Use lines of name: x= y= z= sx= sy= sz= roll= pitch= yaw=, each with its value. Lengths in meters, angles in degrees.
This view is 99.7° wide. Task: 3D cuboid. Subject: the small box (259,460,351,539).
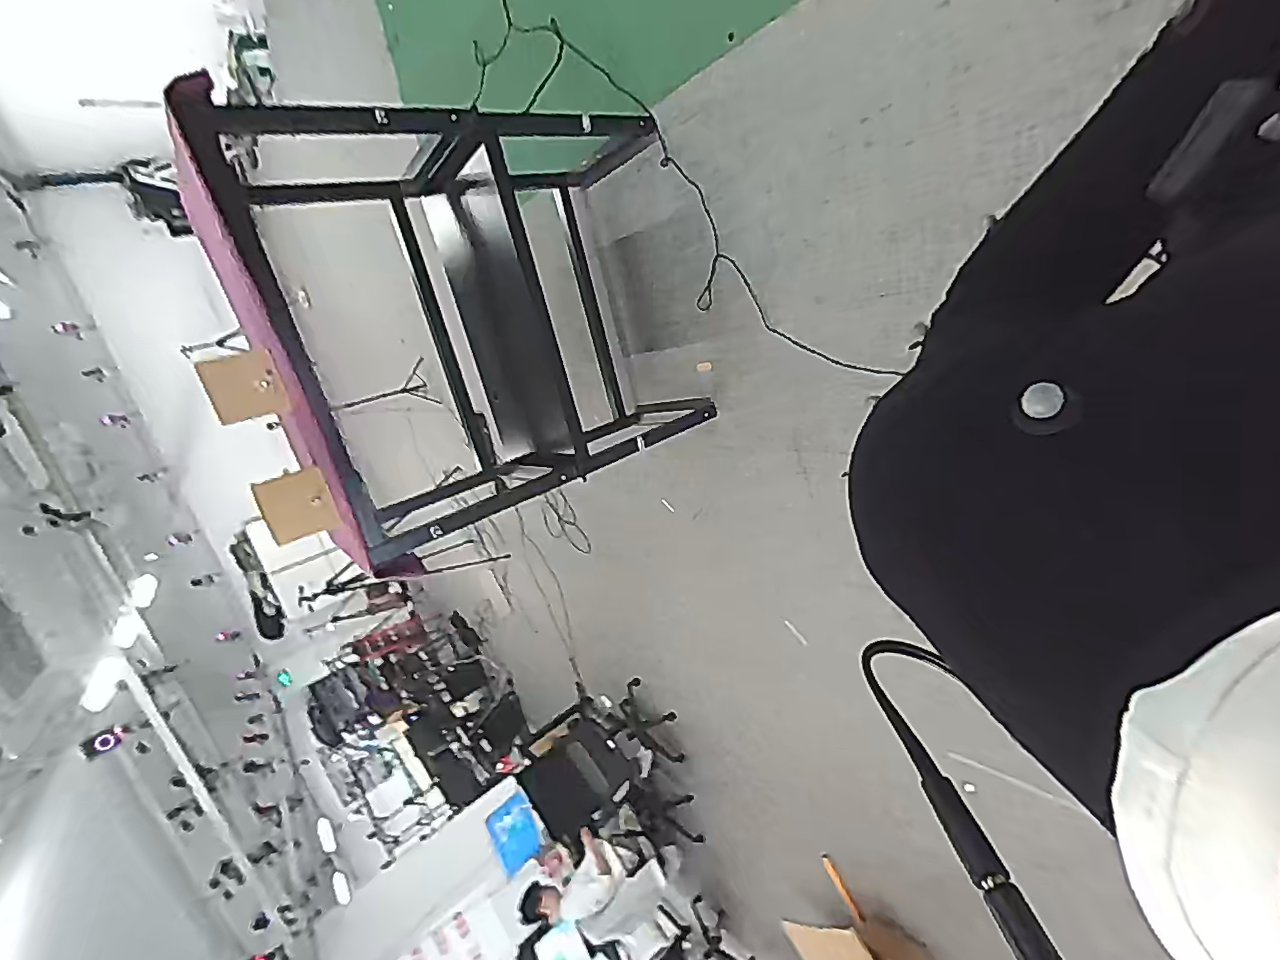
small box: x=-0.943 y=0.047 z=1.523 sx=0.168 sy=0.176 sz=0.179 roll=3 pitch=112 yaw=55
